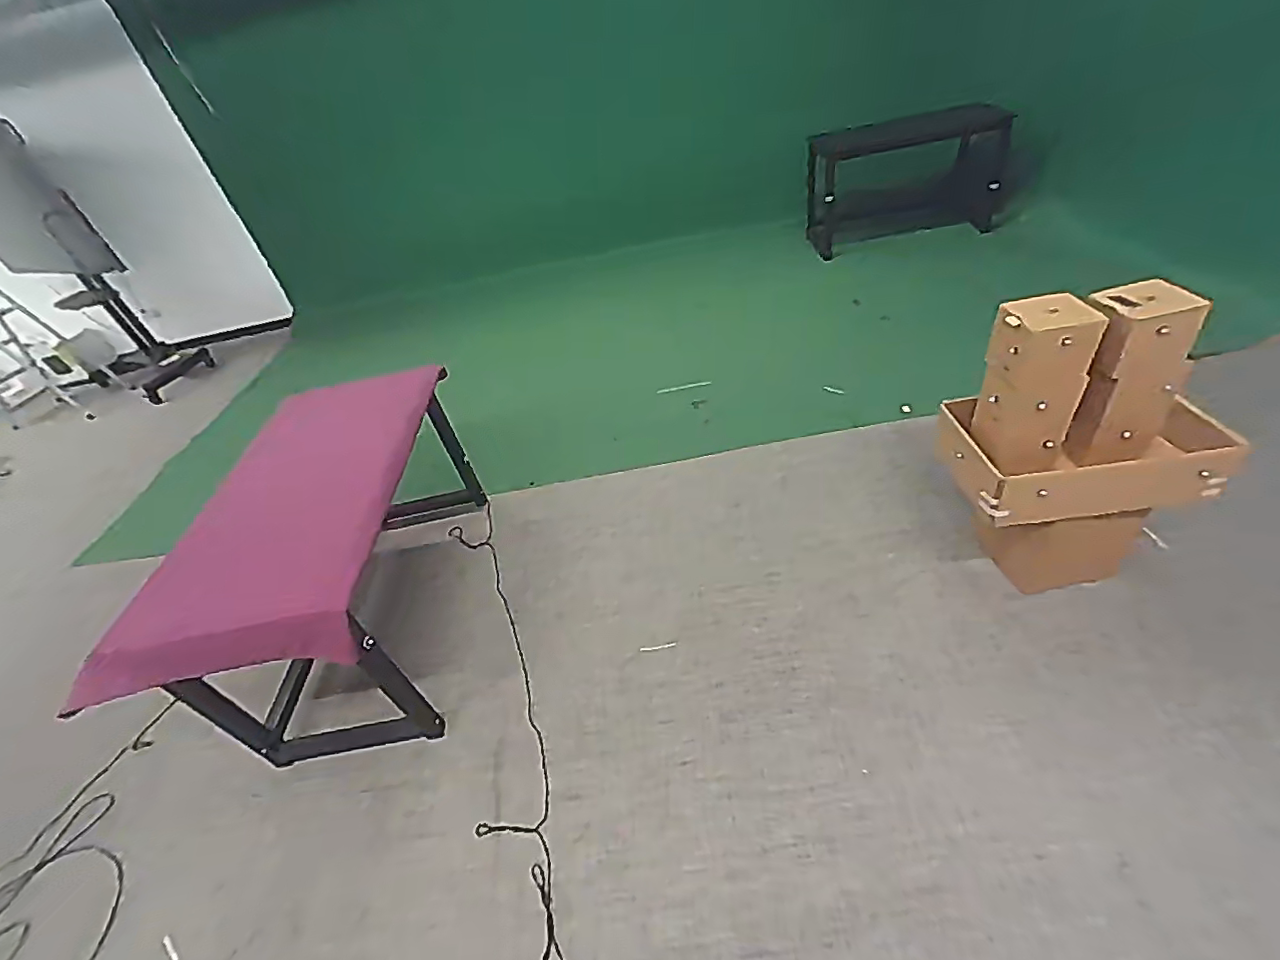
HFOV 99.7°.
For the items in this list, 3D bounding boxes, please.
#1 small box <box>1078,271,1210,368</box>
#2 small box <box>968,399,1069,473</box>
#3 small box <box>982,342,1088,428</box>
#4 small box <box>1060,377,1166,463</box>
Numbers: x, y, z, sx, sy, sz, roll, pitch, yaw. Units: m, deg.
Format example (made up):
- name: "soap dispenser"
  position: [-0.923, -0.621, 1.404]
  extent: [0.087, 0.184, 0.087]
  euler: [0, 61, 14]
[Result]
- name: "small box"
  position: [1.276, -0.409, 1.392]
  extent: [0.179, 0.176, 0.168]
  euler: [-13, 40, 5]
- name: "small box"
  position: [1.127, -0.141, 1.628]
  extent: [0.179, 0.176, 0.168]
  euler: [-8, 40, 6]
- name: "small box"
  position: [1.096, -0.262, 1.523]
  extent: [0.179, 0.176, 0.168]
  euler: [-9, 41, 7]
- name: "small box"
  position: [1.376, -0.175, 1.603]
  extent: [0.179, 0.176, 0.168]
  euler: [-12, 41, 7]
